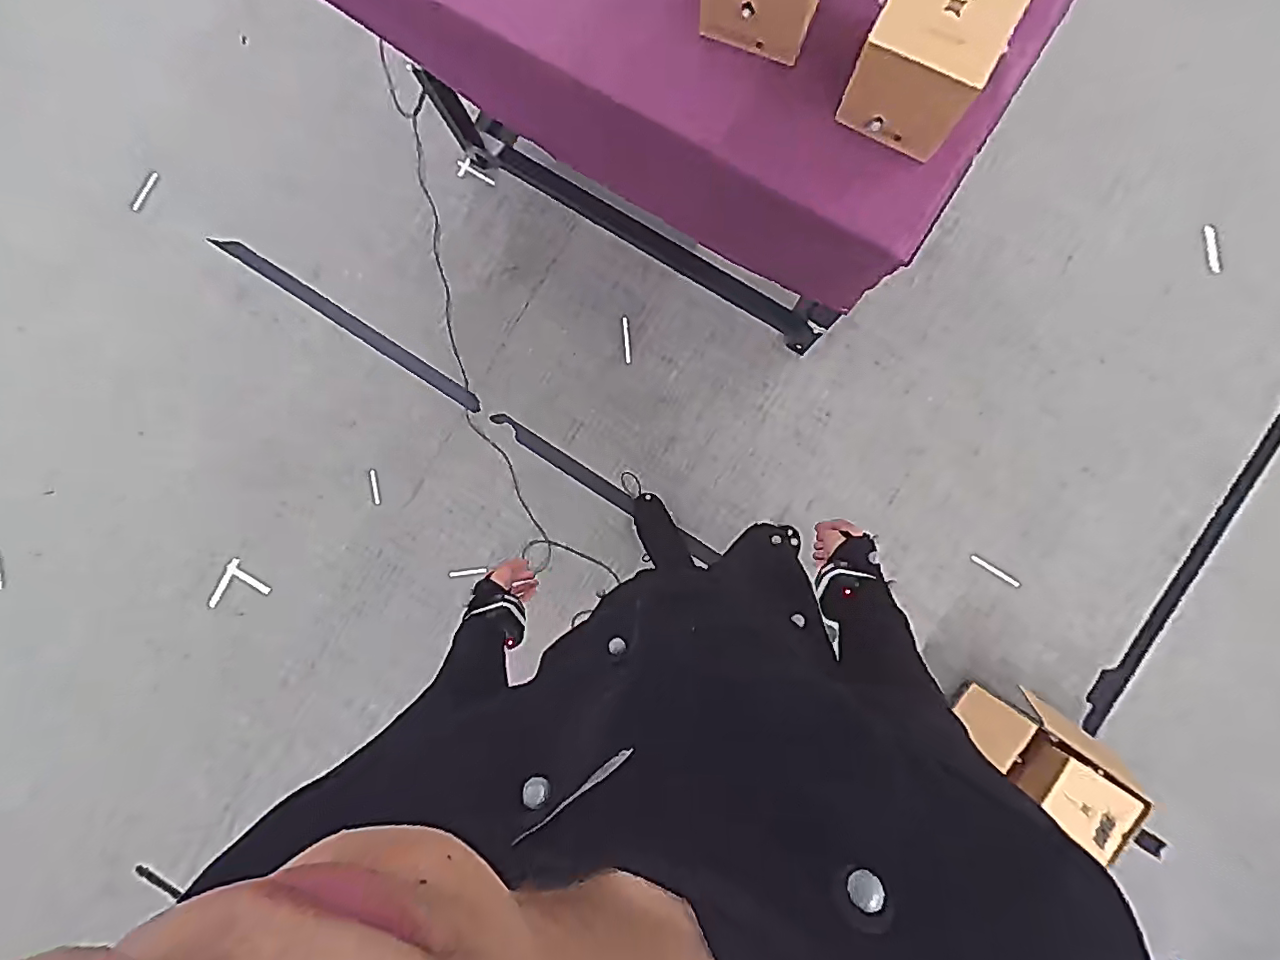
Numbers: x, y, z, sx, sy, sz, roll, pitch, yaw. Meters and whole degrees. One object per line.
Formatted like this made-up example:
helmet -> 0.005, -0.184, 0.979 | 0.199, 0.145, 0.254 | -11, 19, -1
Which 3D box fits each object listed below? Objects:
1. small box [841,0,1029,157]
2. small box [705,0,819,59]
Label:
small box -> 0.420, -0.625, 0.788 | 0.168, 0.176, 0.179 | 28, 91, 4
small box -> 0.201, -0.786, 0.803 | 0.168, 0.176, 0.179 | 22, 91, 3
